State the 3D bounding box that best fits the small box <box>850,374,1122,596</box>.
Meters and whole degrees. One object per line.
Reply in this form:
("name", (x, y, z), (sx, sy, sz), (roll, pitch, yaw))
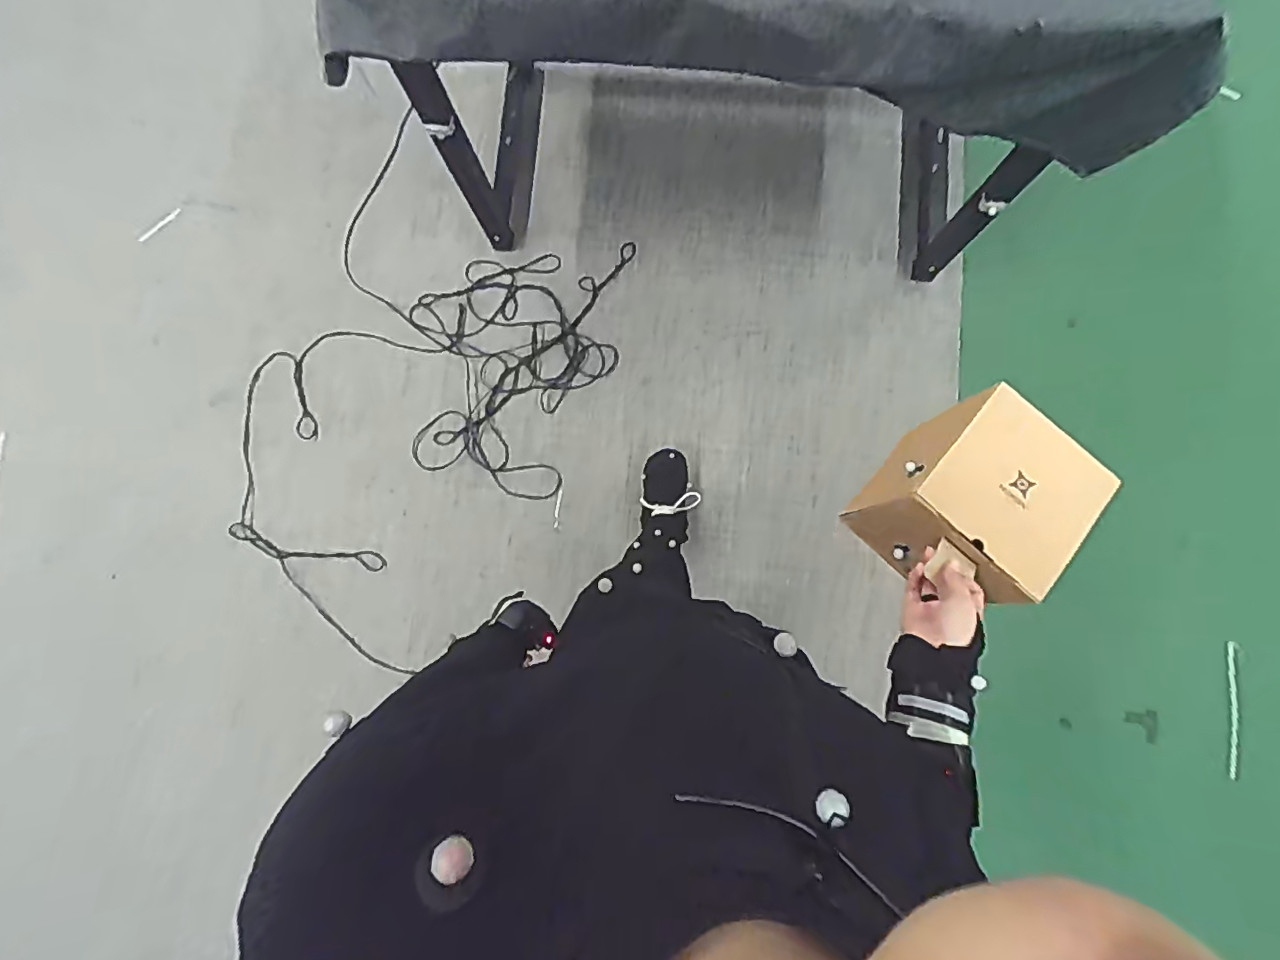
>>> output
("small box", (0.384, 0.016, 0.632), (0.168, 0.176, 0.179), (42, 78, 4))
